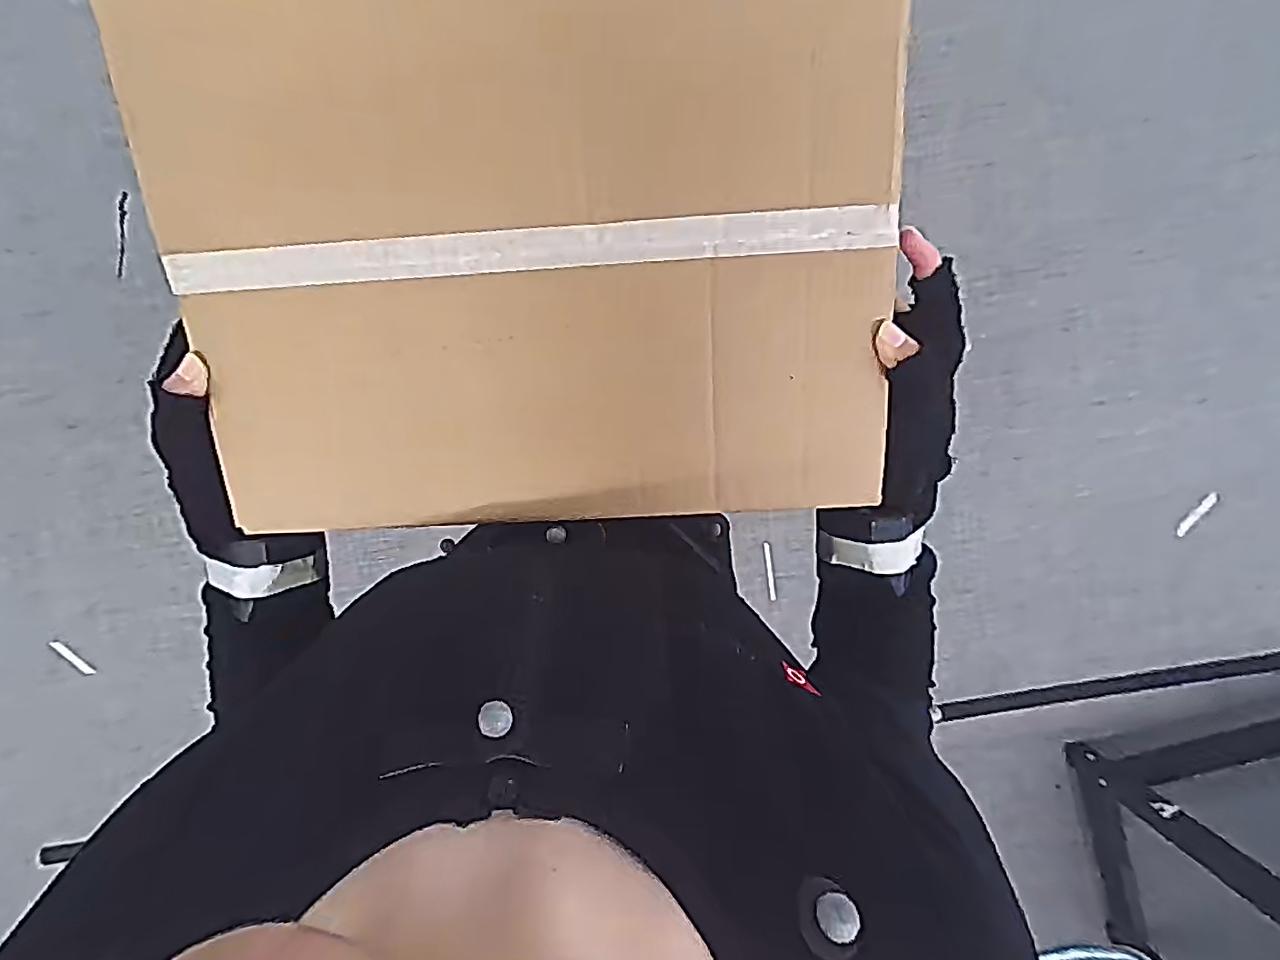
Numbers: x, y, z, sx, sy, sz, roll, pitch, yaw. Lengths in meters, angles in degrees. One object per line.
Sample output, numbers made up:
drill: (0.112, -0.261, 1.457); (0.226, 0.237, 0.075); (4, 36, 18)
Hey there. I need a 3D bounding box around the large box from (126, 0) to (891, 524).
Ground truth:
large box: (-0.061, -0.168, 0.453); (0.408, 0.320, 0.320); (-3, 106, 2)
